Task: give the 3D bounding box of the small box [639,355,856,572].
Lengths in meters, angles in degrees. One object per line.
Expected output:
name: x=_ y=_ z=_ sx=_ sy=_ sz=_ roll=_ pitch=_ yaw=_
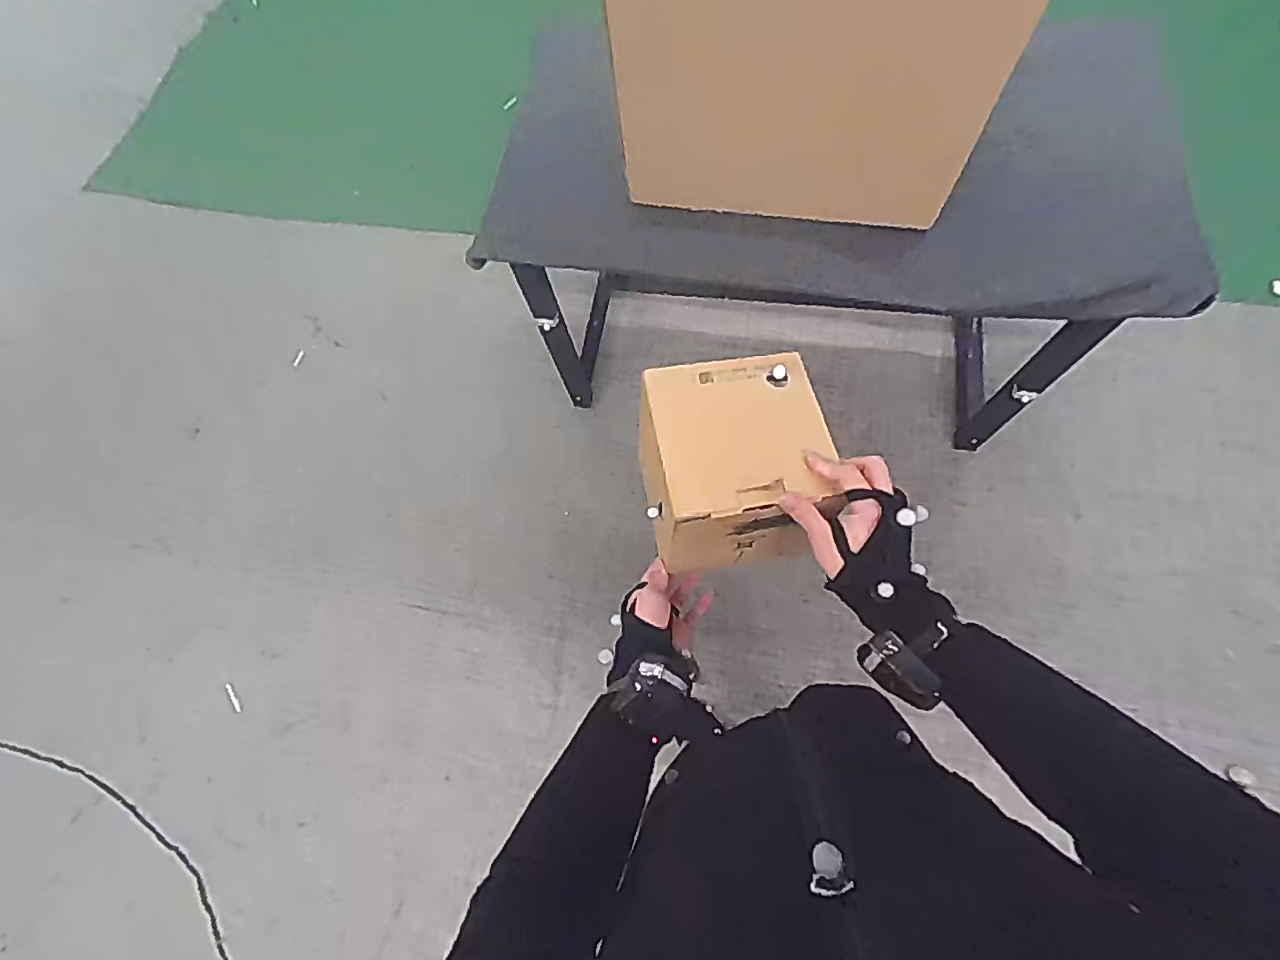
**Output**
small box: x=0.095 y=-0.019 z=0.577 sx=0.168 sy=0.179 sz=0.176 roll=-7 pitch=63 yaw=-7
